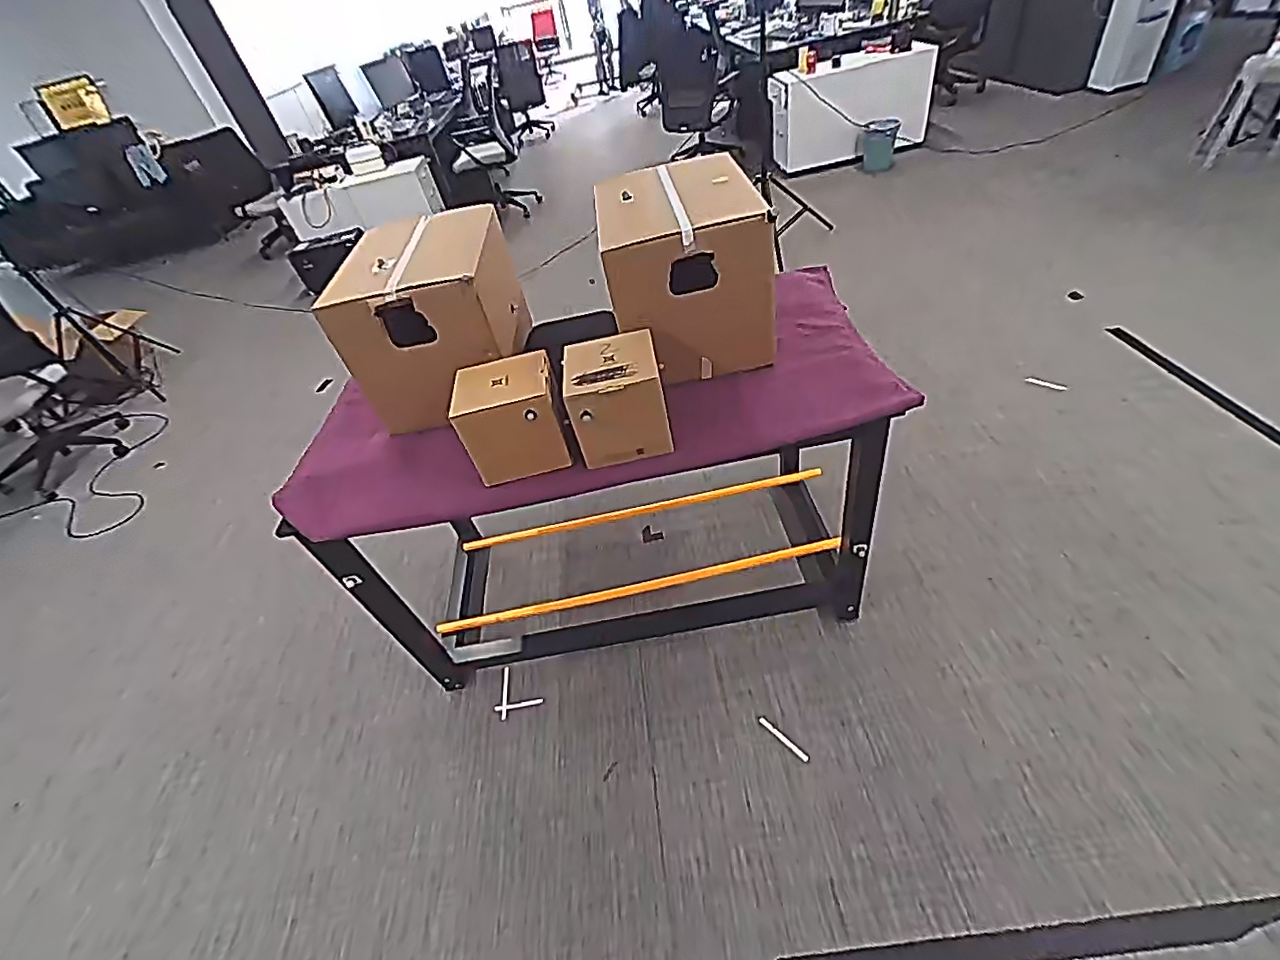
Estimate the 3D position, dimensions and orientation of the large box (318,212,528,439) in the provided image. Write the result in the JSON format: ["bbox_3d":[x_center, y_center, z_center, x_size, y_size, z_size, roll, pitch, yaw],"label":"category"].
[{"bbox_3d":[-0.451,-0.358,1.238,0.320,0.320,0.408,-12,46,3],"label":"large box"}]
